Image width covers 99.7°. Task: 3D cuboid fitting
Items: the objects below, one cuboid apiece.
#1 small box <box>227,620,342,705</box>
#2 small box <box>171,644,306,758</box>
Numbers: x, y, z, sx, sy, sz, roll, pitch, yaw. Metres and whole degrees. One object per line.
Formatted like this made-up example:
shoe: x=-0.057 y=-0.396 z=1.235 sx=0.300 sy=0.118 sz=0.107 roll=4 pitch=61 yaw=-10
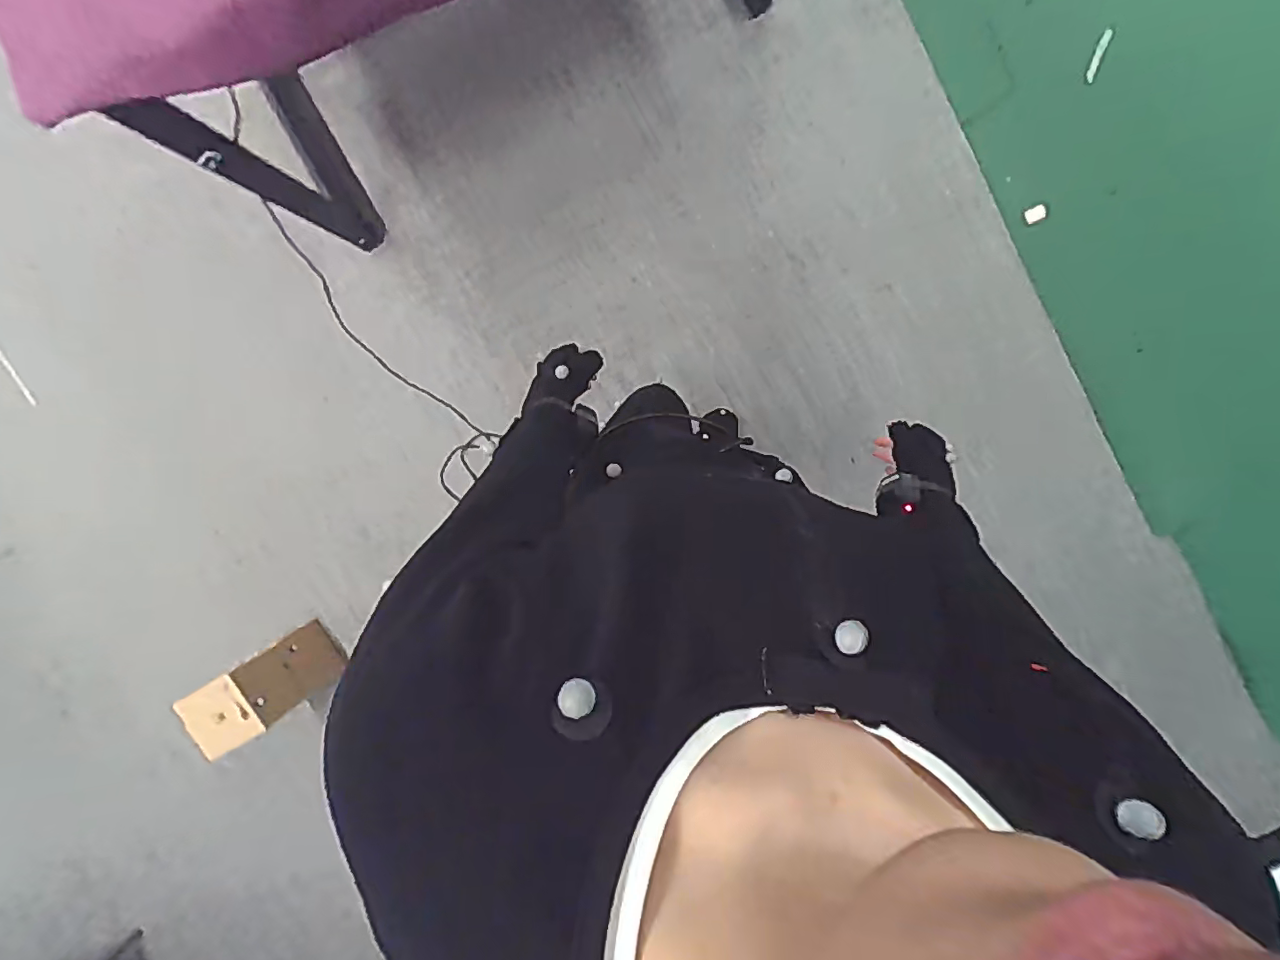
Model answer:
small box: x=-0.981 y=0.525 z=1.511 sx=0.168 sy=0.176 sz=0.179 roll=-29 pitch=94 yaw=6
small box: x=-0.989 y=0.544 z=1.349 sx=0.179 sy=0.176 sz=0.168 roll=-29 pitch=95 yaw=7
